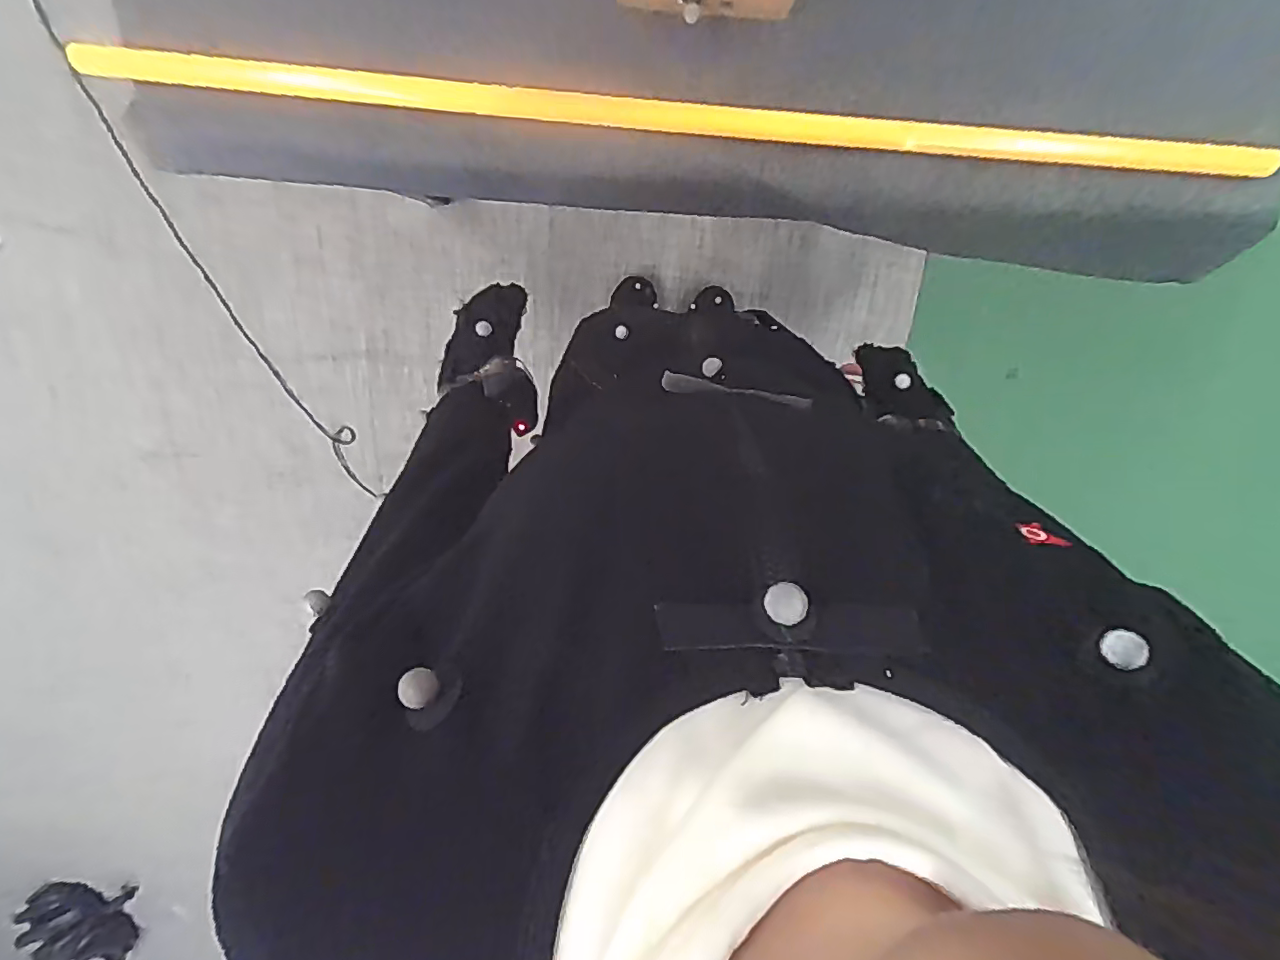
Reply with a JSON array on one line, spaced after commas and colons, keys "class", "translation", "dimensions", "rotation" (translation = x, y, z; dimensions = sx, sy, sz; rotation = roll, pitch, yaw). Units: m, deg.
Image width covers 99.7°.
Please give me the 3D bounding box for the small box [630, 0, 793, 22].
[{"class": "small box", "translation": [0.065, -0.509, 0.426], "dimensions": [0.168, 0.176, 0.179], "rotation": [3, 112, 1]}]
